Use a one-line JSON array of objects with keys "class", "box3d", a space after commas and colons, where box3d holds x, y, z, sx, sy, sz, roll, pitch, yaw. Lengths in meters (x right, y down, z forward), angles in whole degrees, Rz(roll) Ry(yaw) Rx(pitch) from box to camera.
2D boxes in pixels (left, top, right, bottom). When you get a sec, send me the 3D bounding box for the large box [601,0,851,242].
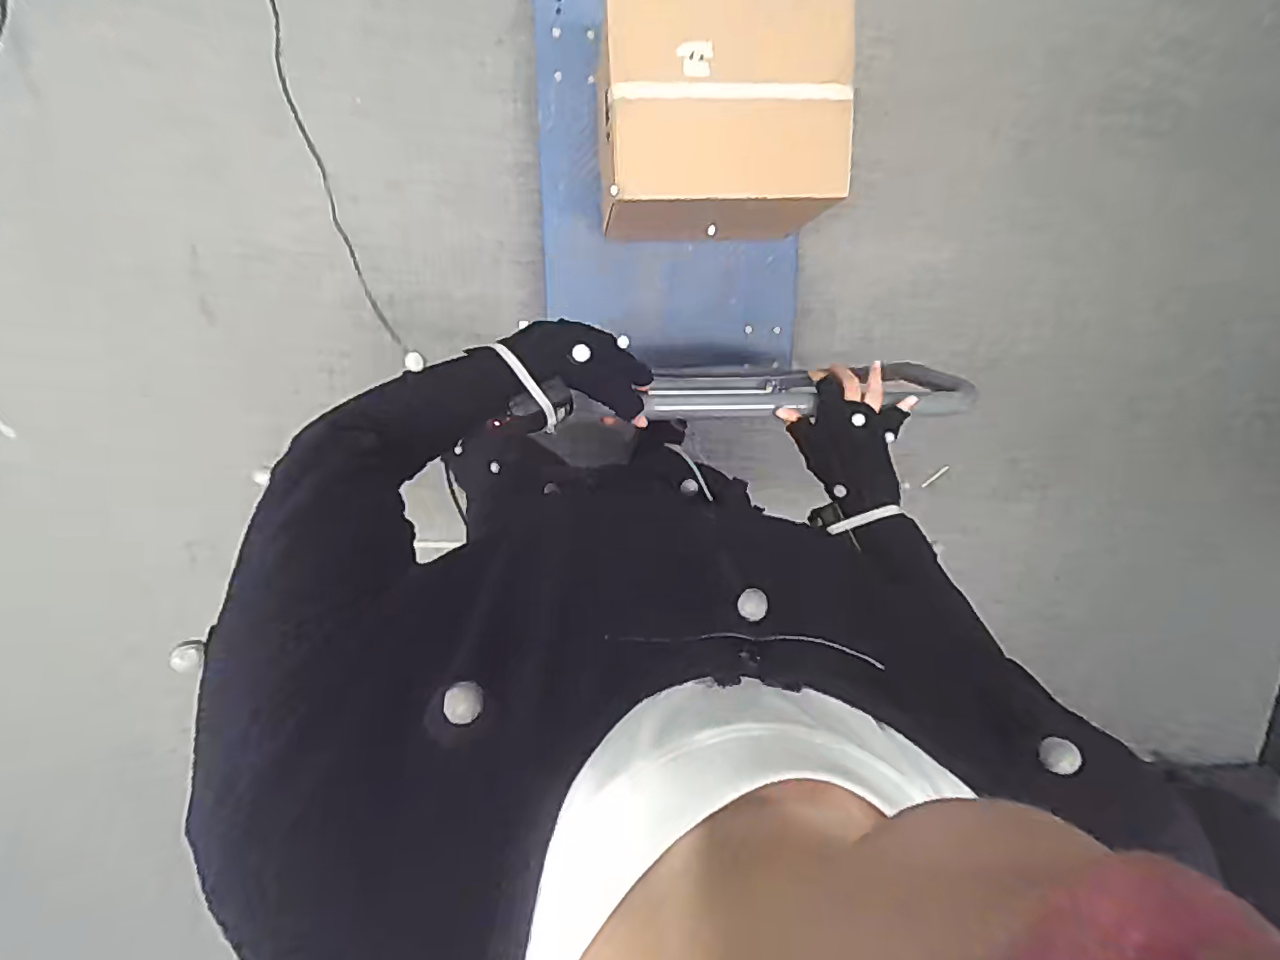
[{"class": "large box", "box3d": [0.140, -0.655, 1.031, 0.408, 0.320, 0.320, -4, 101, -5]}]
